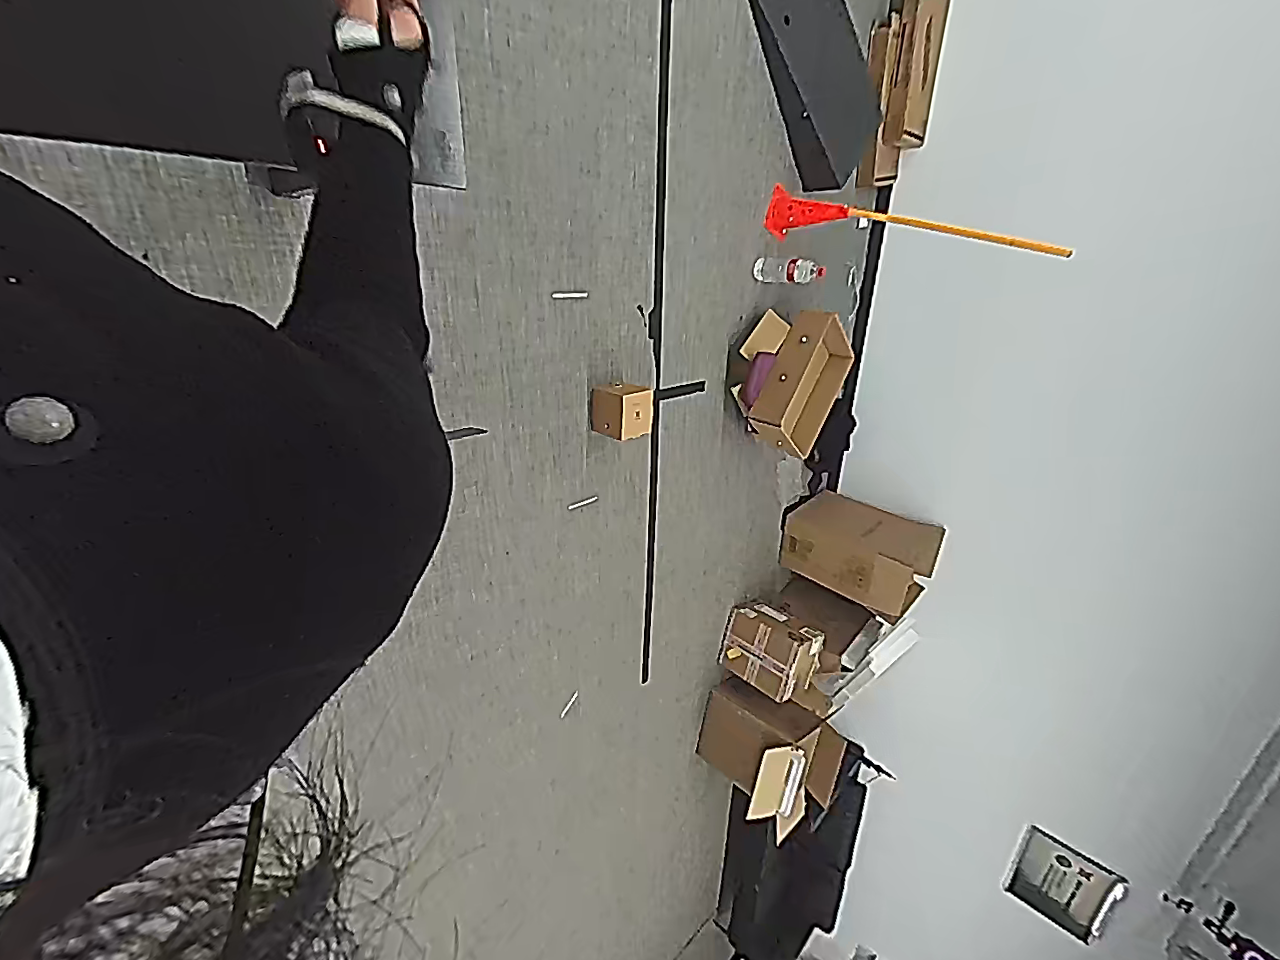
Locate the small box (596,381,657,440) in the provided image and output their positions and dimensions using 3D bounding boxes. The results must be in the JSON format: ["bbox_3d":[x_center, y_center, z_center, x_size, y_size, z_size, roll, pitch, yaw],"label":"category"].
[{"bbox_3d":[-0.054,-0.269,2.060,0.168,0.176,0.179,-21,121,-42],"label":"small box"}]
